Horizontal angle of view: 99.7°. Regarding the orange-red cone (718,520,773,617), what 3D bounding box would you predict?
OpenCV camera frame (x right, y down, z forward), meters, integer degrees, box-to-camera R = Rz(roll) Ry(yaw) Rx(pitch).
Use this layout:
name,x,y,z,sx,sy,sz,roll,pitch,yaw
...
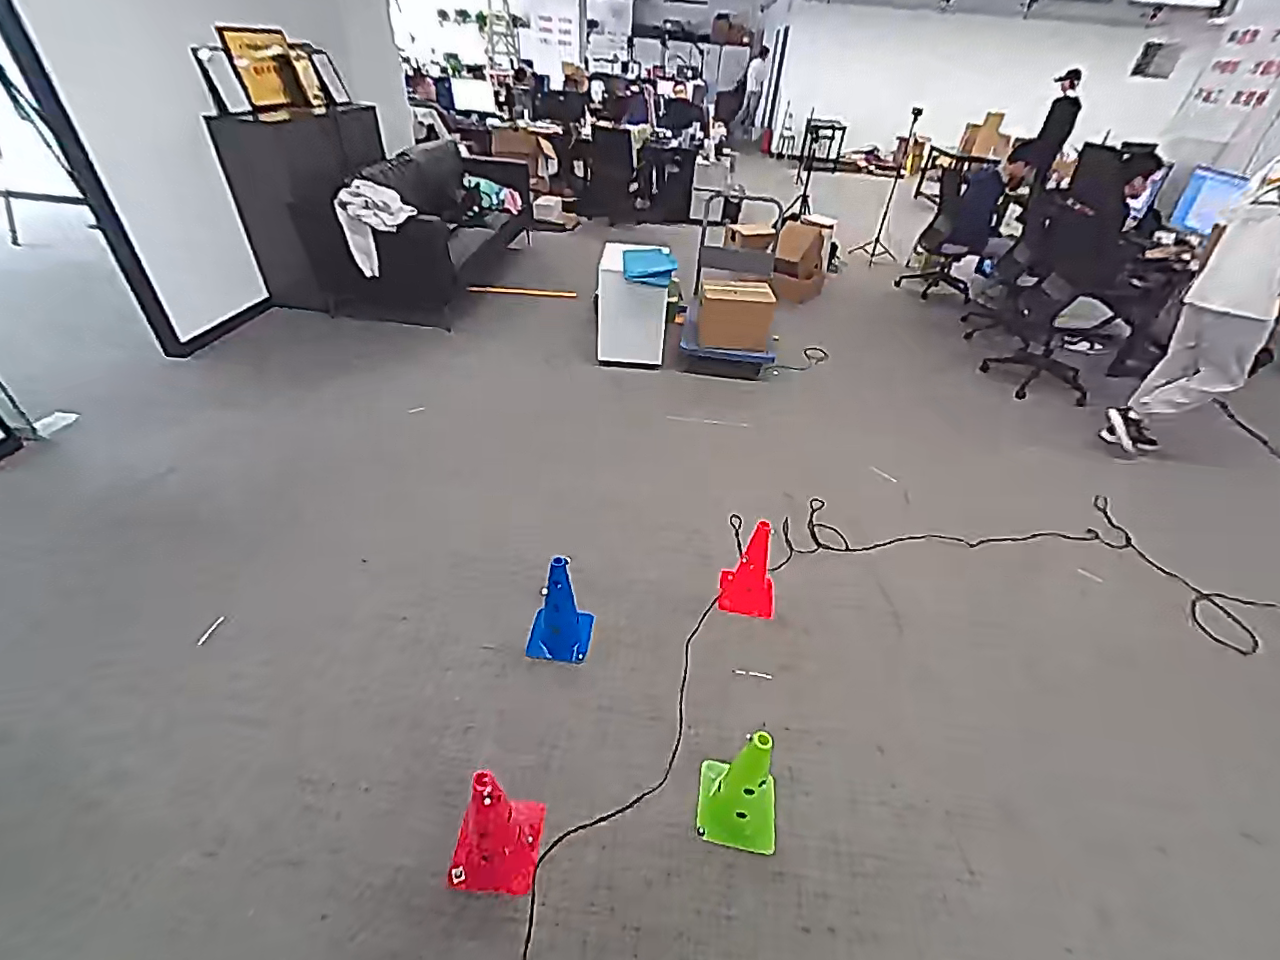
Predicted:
name,x,y,z,sx,sy,sz,roll,pitch,yaw
orange-red cone,0.398,0.284,1.893,0.198,0.360,0.199,9,40,7

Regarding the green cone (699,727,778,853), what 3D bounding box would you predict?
name,x,y,z,sx,sy,sz,roll,pitch,yaw
green cone,0.271,0.719,1.318,0.200,0.368,0.202,9,37,5
